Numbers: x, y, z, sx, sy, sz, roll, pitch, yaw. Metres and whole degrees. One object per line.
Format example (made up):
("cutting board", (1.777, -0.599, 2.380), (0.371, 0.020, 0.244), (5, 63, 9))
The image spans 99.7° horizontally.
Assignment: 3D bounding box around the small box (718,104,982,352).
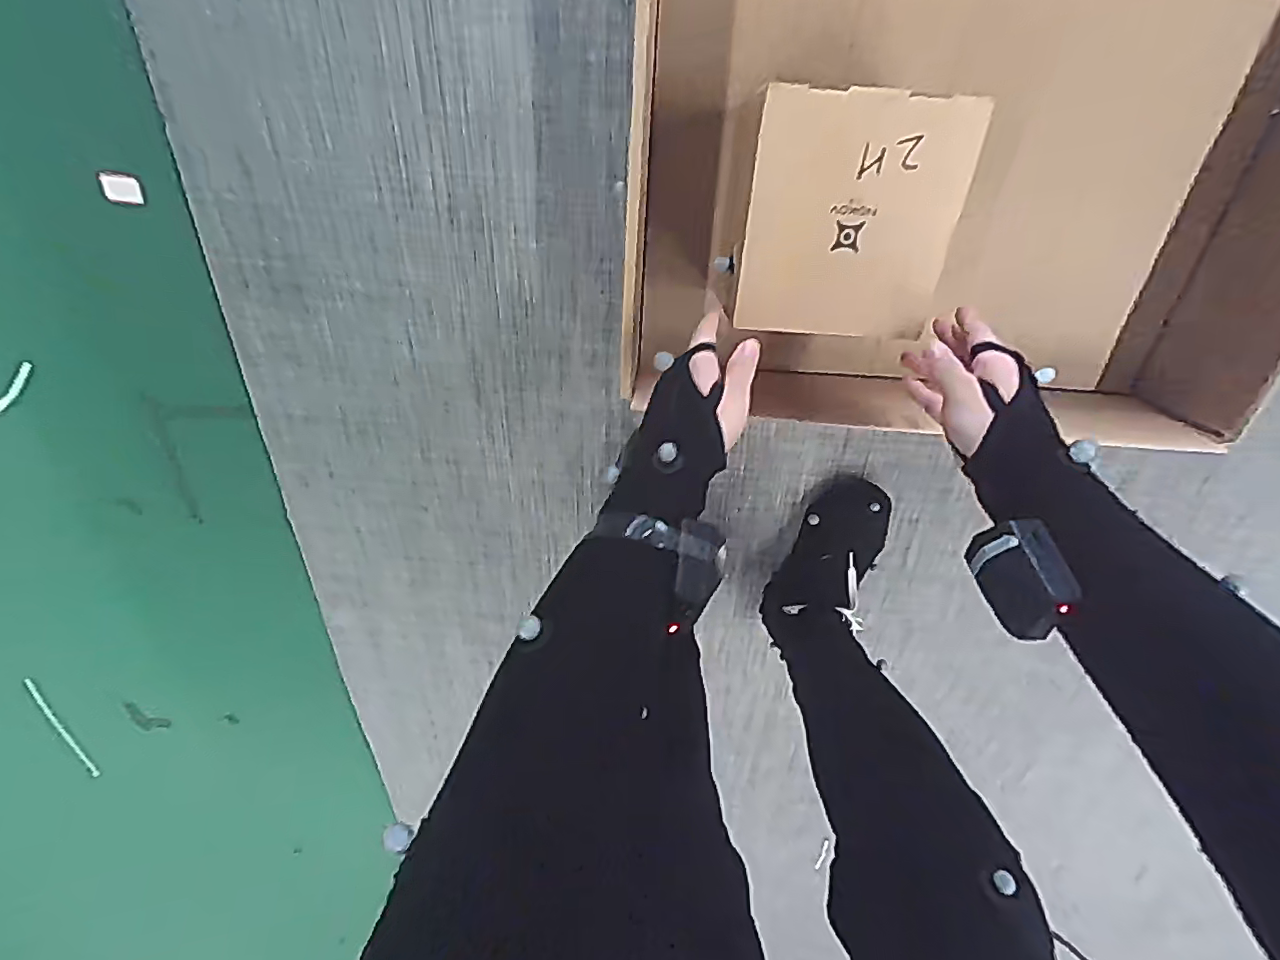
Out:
("small box", (0.171, -0.235, 0.511), (0.168, 0.176, 0.179), (4, 119, -1))
